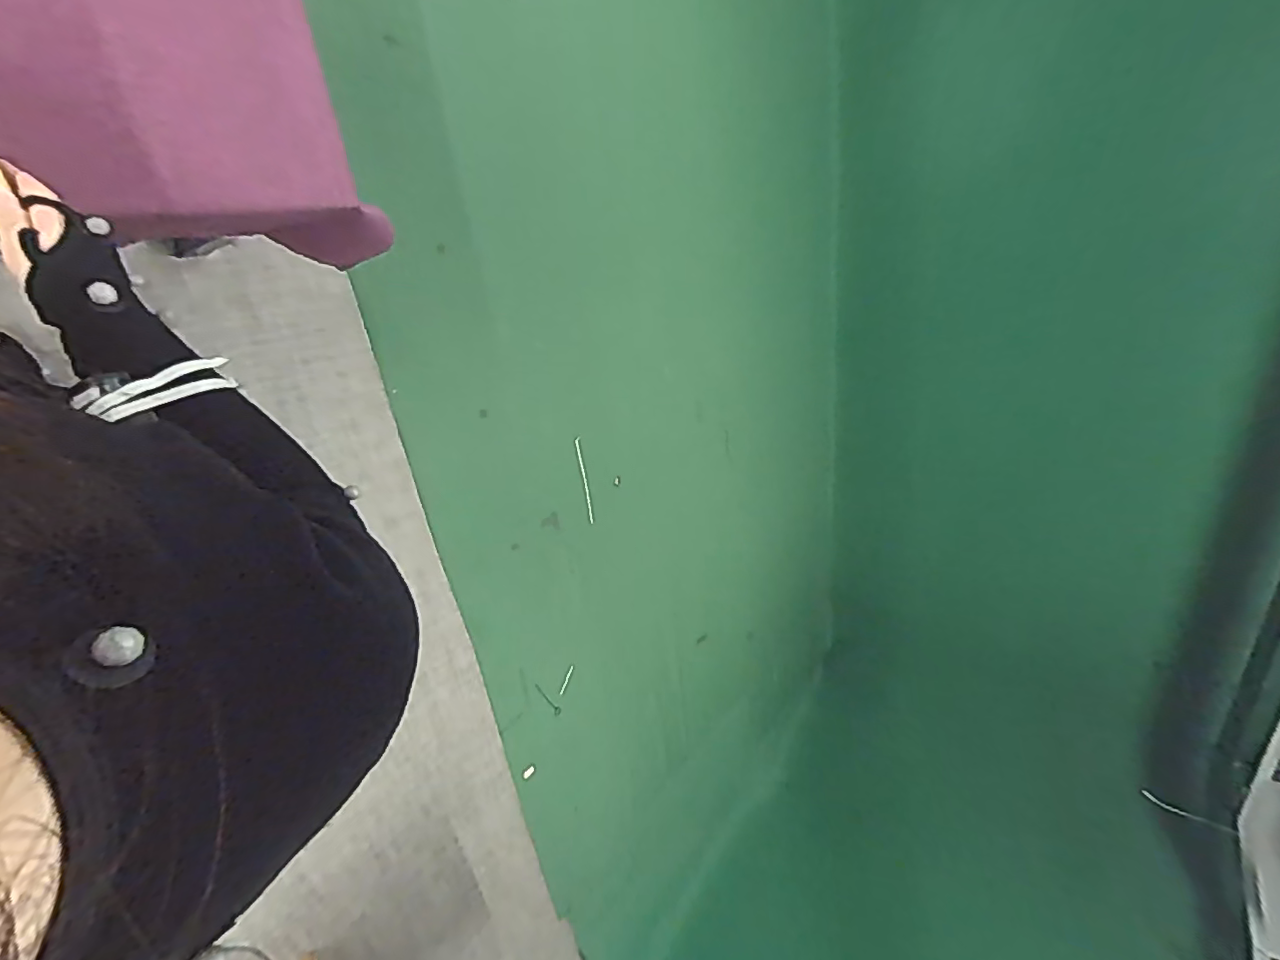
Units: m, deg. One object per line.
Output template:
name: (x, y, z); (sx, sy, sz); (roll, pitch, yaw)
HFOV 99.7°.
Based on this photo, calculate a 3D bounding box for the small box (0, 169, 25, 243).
small box: (-0.588, -0.255, 0.372); (0.168, 0.176, 0.179); (-34, 124, -43)
